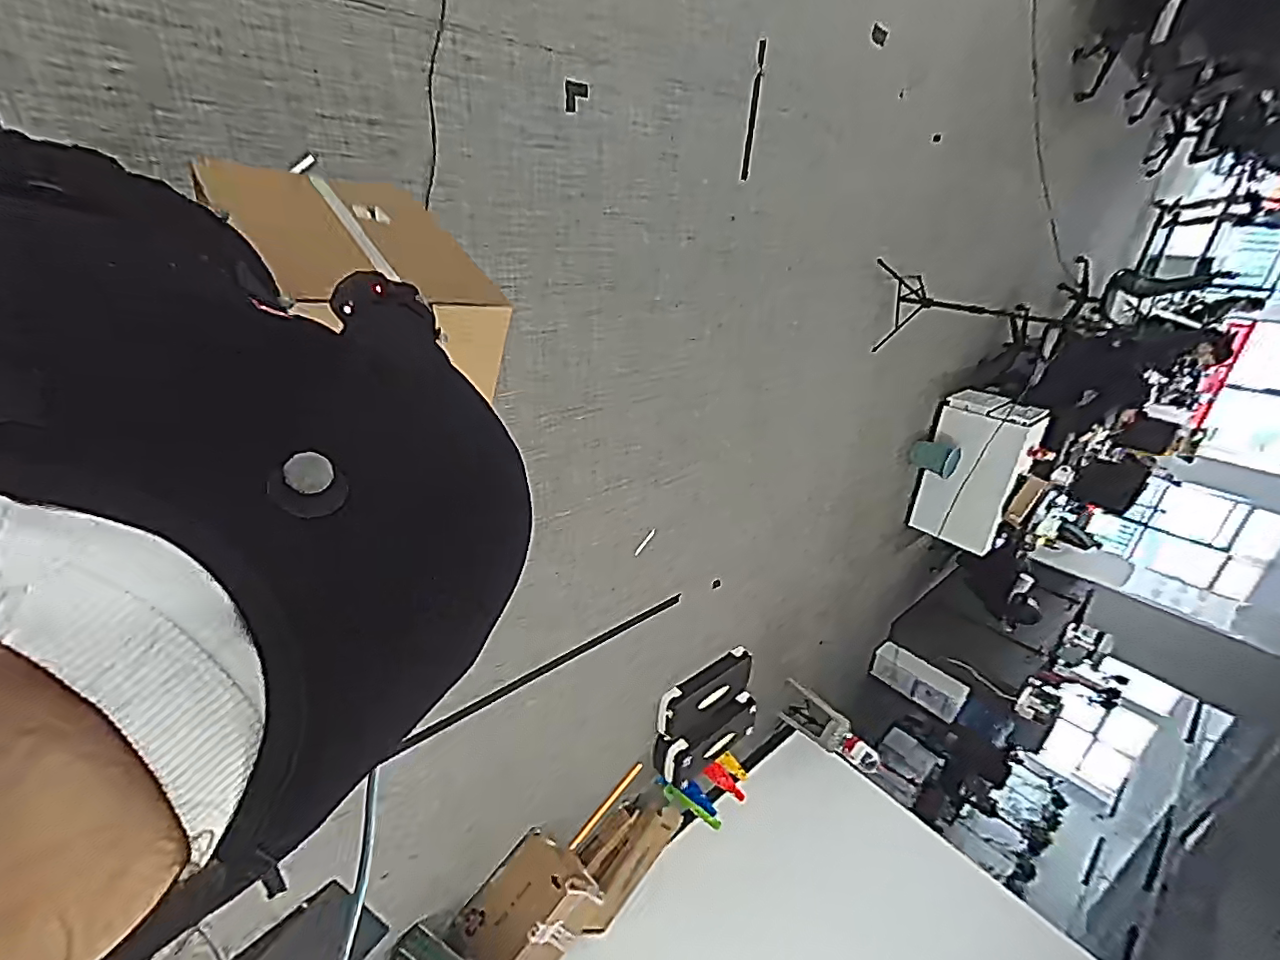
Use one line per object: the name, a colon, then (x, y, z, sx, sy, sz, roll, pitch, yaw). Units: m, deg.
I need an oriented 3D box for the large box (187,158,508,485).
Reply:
large box: (-0.467, -0.256, 0.873, 0.320, 0.408, 0.320, -15, 143, -41)
